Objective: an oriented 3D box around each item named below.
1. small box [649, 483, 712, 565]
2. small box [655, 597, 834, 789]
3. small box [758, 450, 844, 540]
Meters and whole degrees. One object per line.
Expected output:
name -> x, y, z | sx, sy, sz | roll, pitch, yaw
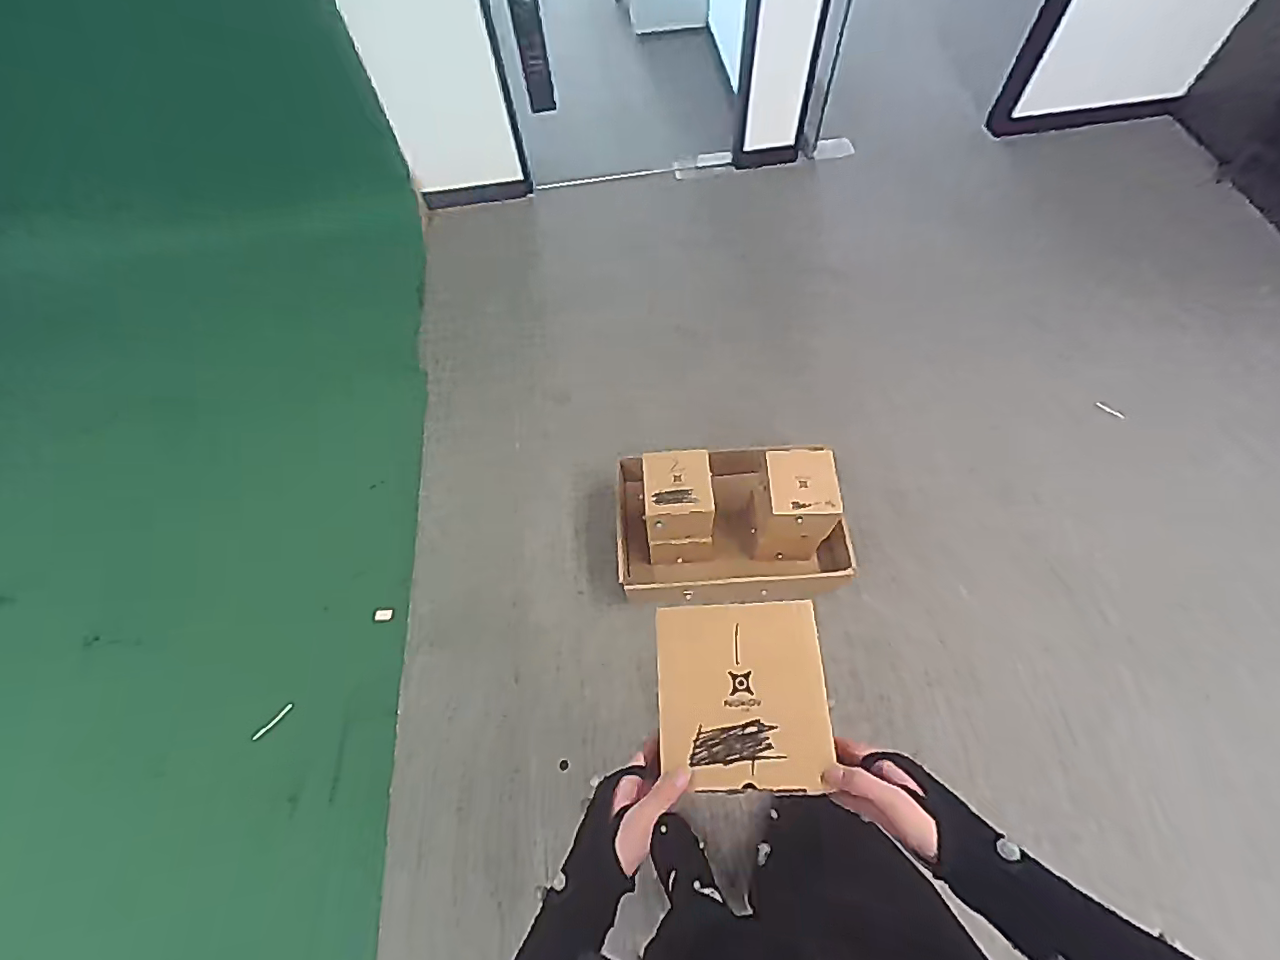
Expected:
small box -> 0.110, 0.127, 1.525 | 0.168, 0.176, 0.179 | -3, 61, 2
small box -> 0.109, 0.237, 0.605 | 0.168, 0.176, 0.179 | -4, 65, 7
small box -> 0.398, 0.040, 1.368 | 0.168, 0.176, 0.179 | -1, 62, 3
